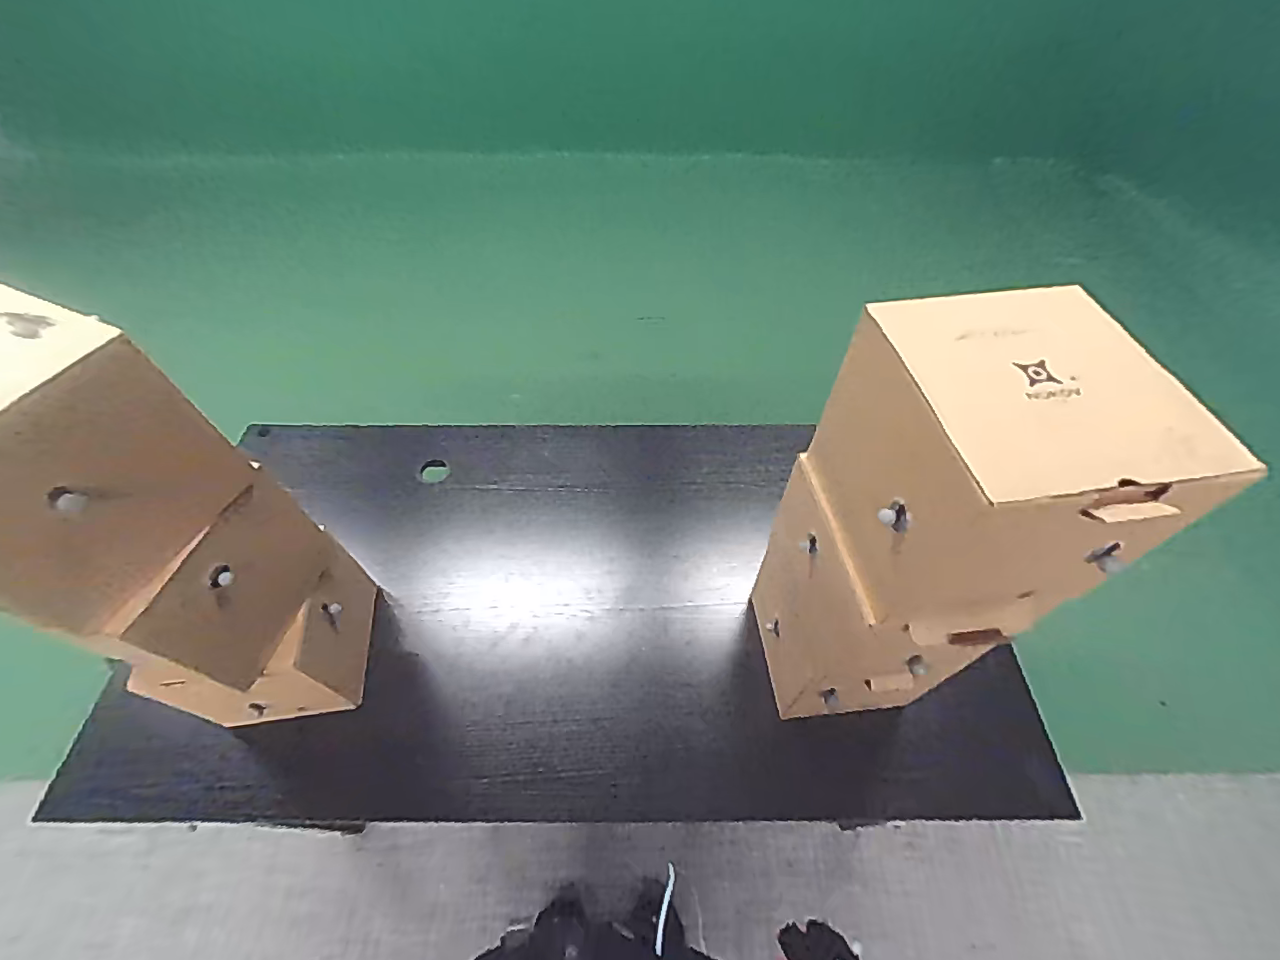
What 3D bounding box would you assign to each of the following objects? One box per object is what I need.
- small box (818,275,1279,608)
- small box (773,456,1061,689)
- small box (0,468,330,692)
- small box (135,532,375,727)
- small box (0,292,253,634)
[{"bbox_3d":[0.250,-0.019,0.392,0.168,0.176,0.179,-7,53,-5],"label":"small box"},{"bbox_3d":[0.244,0.087,0.537,0.168,0.176,0.179,-7,54,-4],"label":"small box"},{"bbox_3d":[-0.452,0.092,0.537,0.168,0.176,0.179,11,55,7],"label":"small box"},{"bbox_3d":[-0.449,0.187,0.670,0.168,0.176,0.179,-7,55,-5],"label":"small box"},{"bbox_3d":[-0.453,-0.010,0.407,0.168,0.176,0.179,20,58,12],"label":"small box"}]
